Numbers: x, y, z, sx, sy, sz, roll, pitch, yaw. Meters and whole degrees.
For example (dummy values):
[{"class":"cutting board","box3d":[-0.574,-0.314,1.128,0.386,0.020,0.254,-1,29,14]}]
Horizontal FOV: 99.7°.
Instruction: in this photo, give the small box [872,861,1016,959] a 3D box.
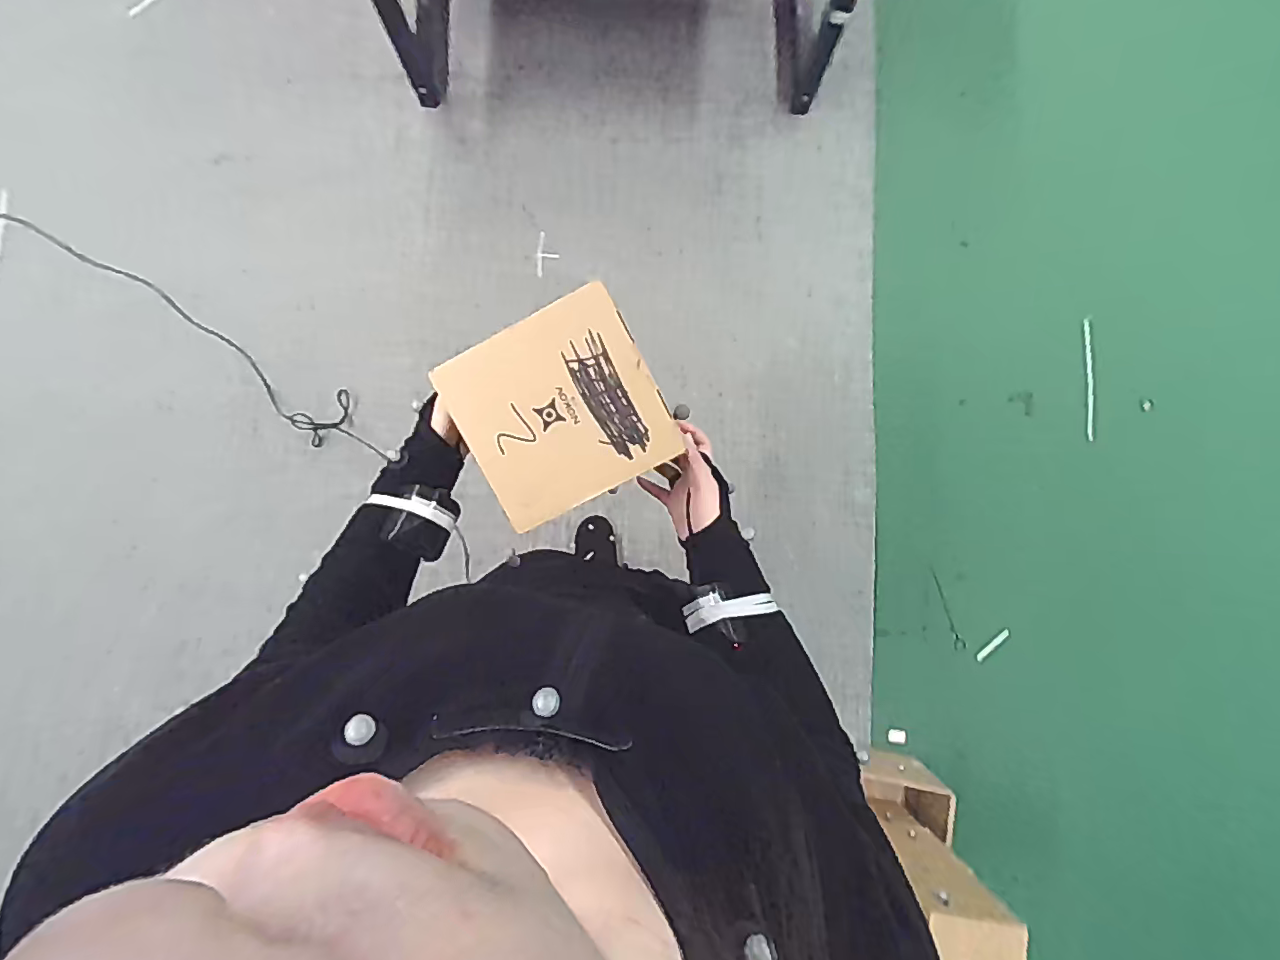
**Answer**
[{"class":"small box","box3d":[0.561,0.857,1.018,0.179,0.176,0.168,10,83,-1]}]
